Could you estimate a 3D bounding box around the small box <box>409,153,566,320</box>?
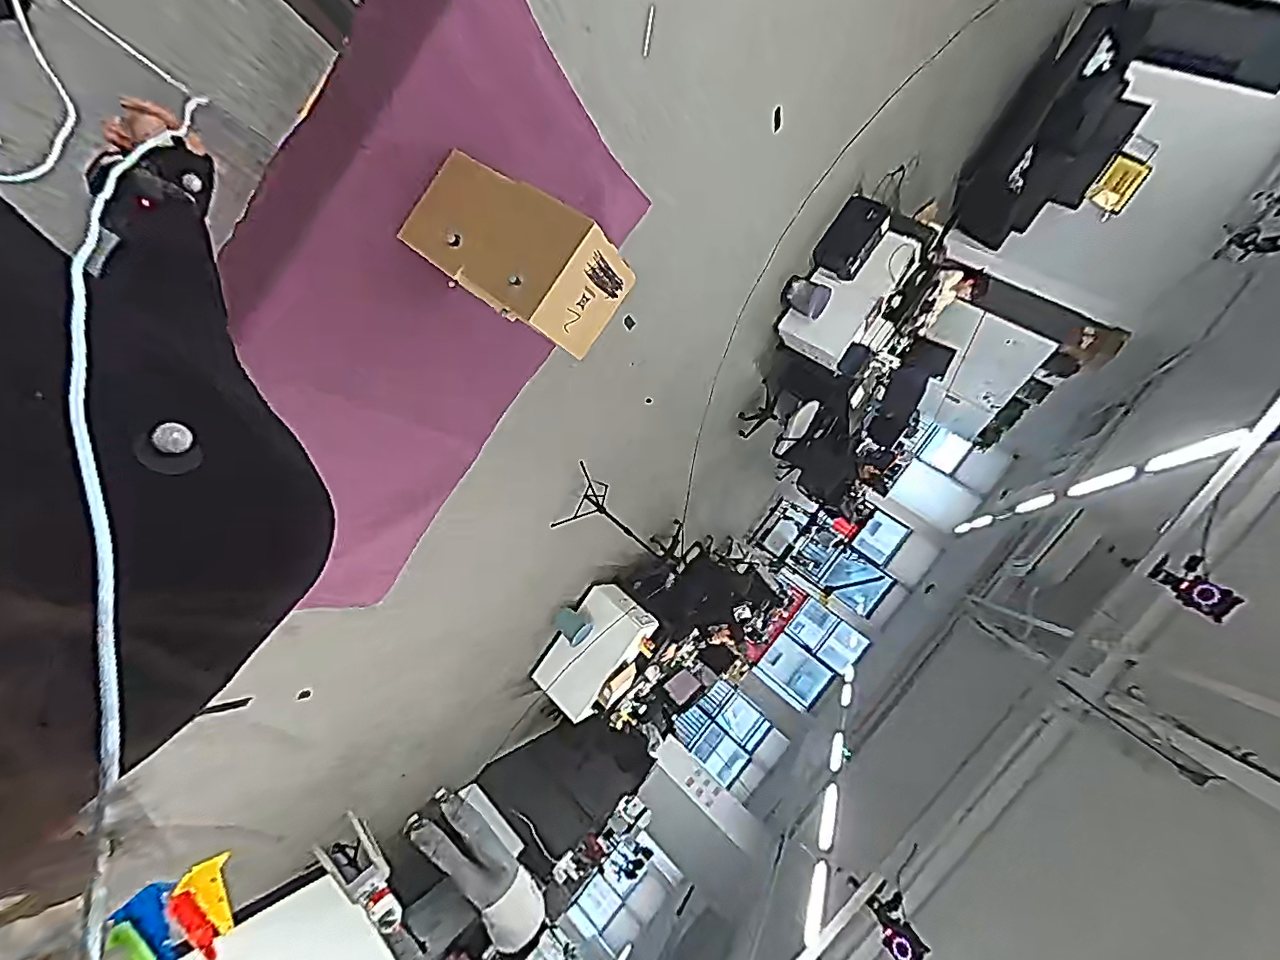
[{"bbox_3d":[-0.270,-0.421,0.945,0.179,0.176,0.168,-54,158,4],"label":"small box"}]
